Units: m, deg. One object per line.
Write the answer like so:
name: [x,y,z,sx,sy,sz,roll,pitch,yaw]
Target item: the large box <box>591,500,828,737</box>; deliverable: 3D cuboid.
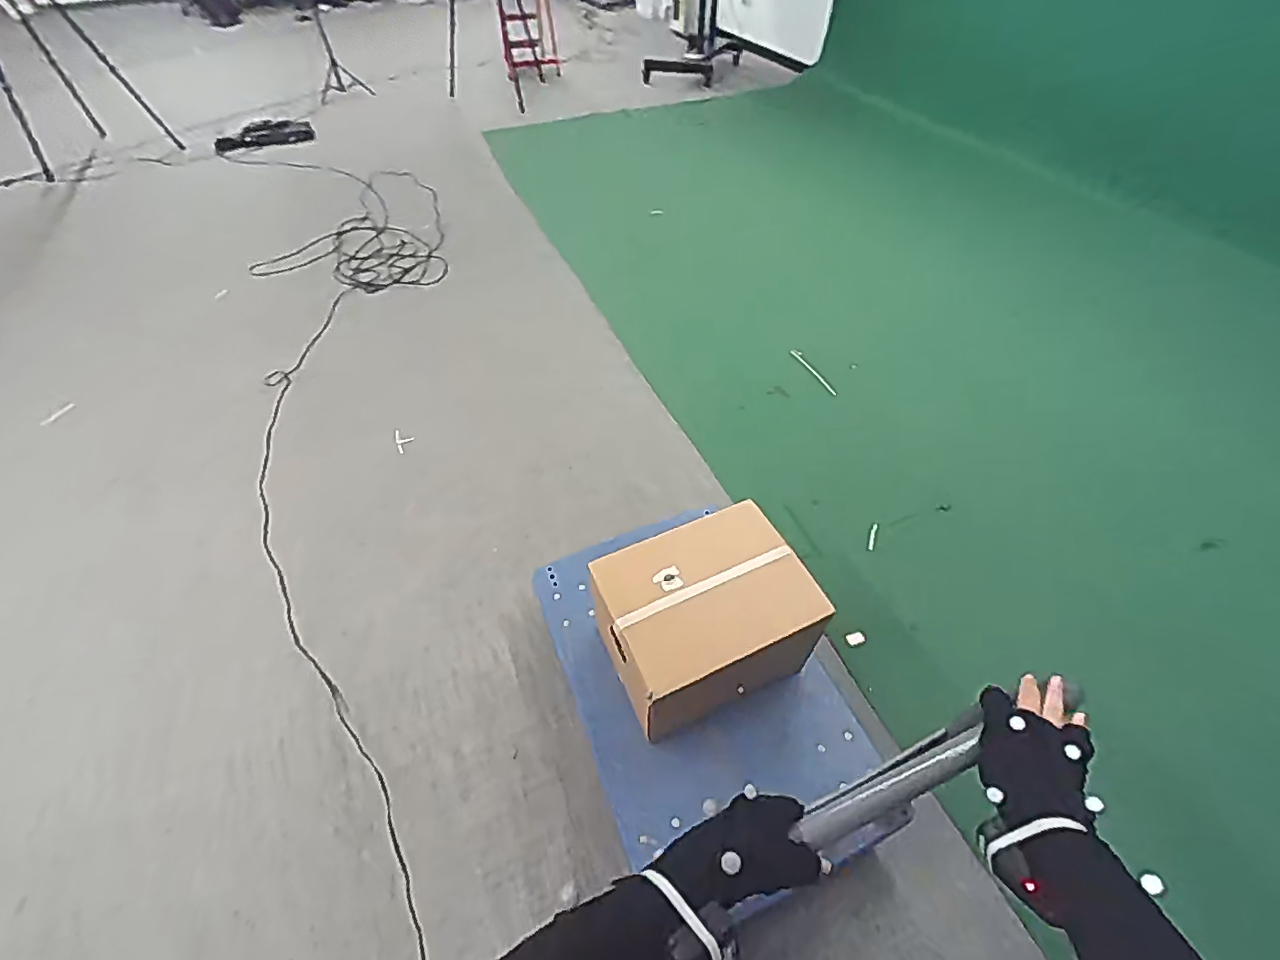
large box: [0.141,0.312,1.227,0.408,0.320,0.320,-21,53,-15]
